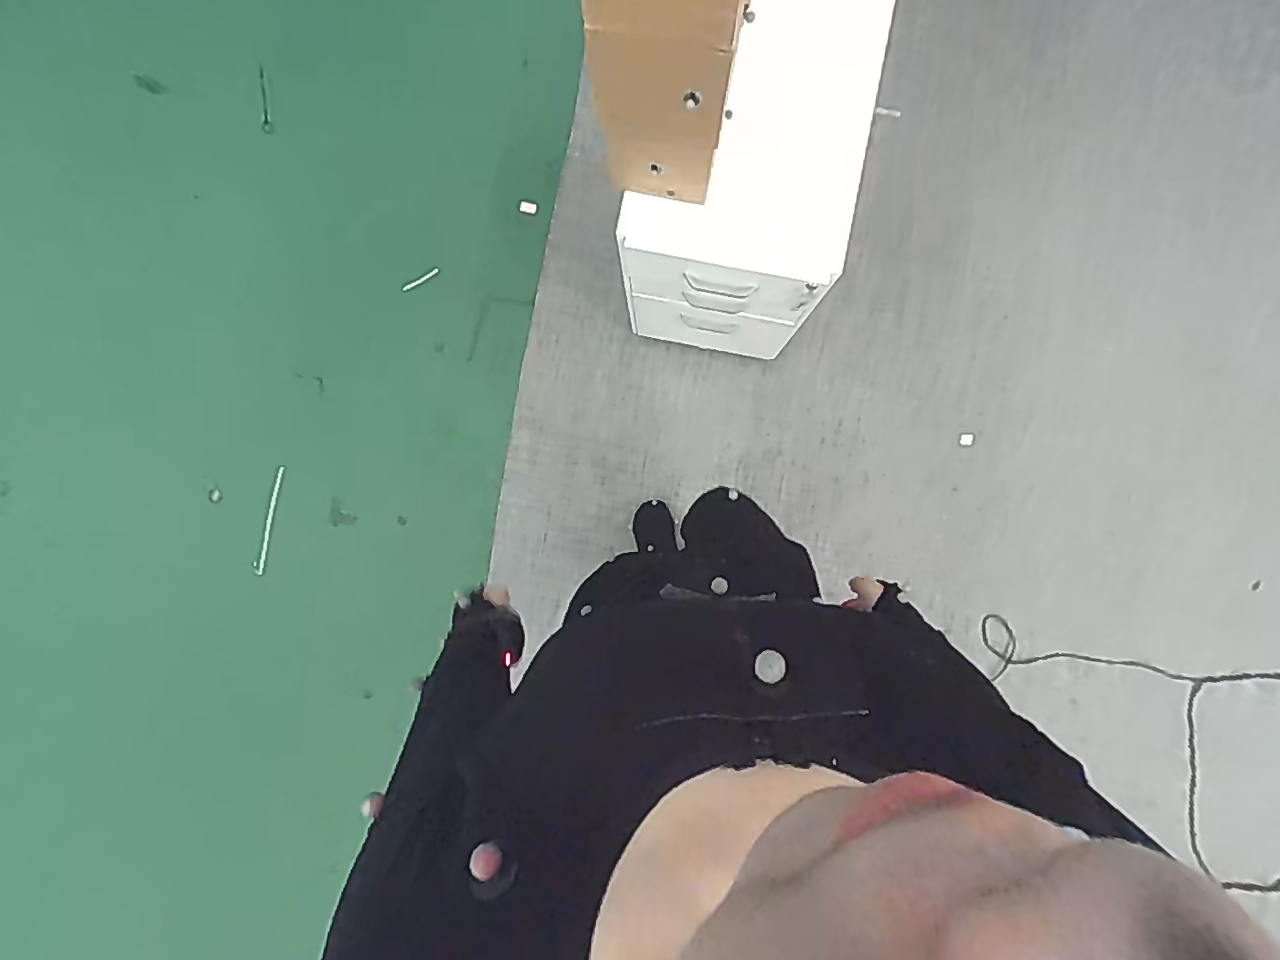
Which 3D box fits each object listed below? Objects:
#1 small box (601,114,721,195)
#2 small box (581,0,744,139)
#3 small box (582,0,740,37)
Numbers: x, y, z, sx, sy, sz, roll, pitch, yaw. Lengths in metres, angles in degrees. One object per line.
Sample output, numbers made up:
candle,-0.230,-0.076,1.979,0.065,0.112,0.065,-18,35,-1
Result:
small box,0.042,-0.582,0.848,0.168,0.176,0.179,12,89,1
small box,0.036,-0.572,0.686,0.179,0.176,0.168,11,88,2
small box,0.031,-0.583,0.523,0.179,0.176,0.168,13,88,1
